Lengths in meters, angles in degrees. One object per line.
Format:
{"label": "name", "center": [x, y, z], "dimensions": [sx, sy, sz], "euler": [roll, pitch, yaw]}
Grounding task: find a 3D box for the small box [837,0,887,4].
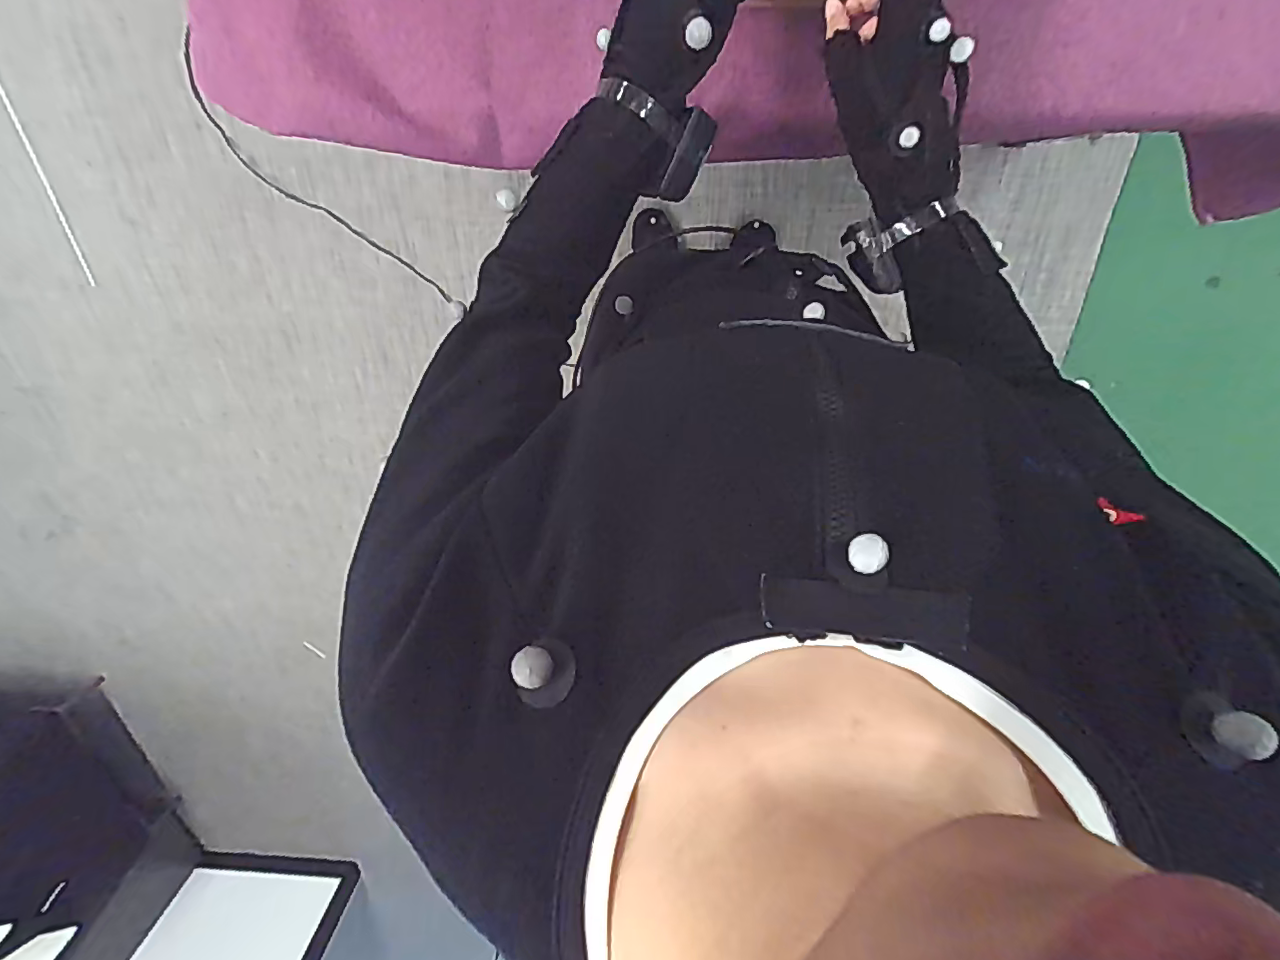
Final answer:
{"label": "small box", "center": [0.155, -0.490, 0.403], "dimensions": [0.168, 0.176, 0.179], "euler": [4, 117, 2]}
